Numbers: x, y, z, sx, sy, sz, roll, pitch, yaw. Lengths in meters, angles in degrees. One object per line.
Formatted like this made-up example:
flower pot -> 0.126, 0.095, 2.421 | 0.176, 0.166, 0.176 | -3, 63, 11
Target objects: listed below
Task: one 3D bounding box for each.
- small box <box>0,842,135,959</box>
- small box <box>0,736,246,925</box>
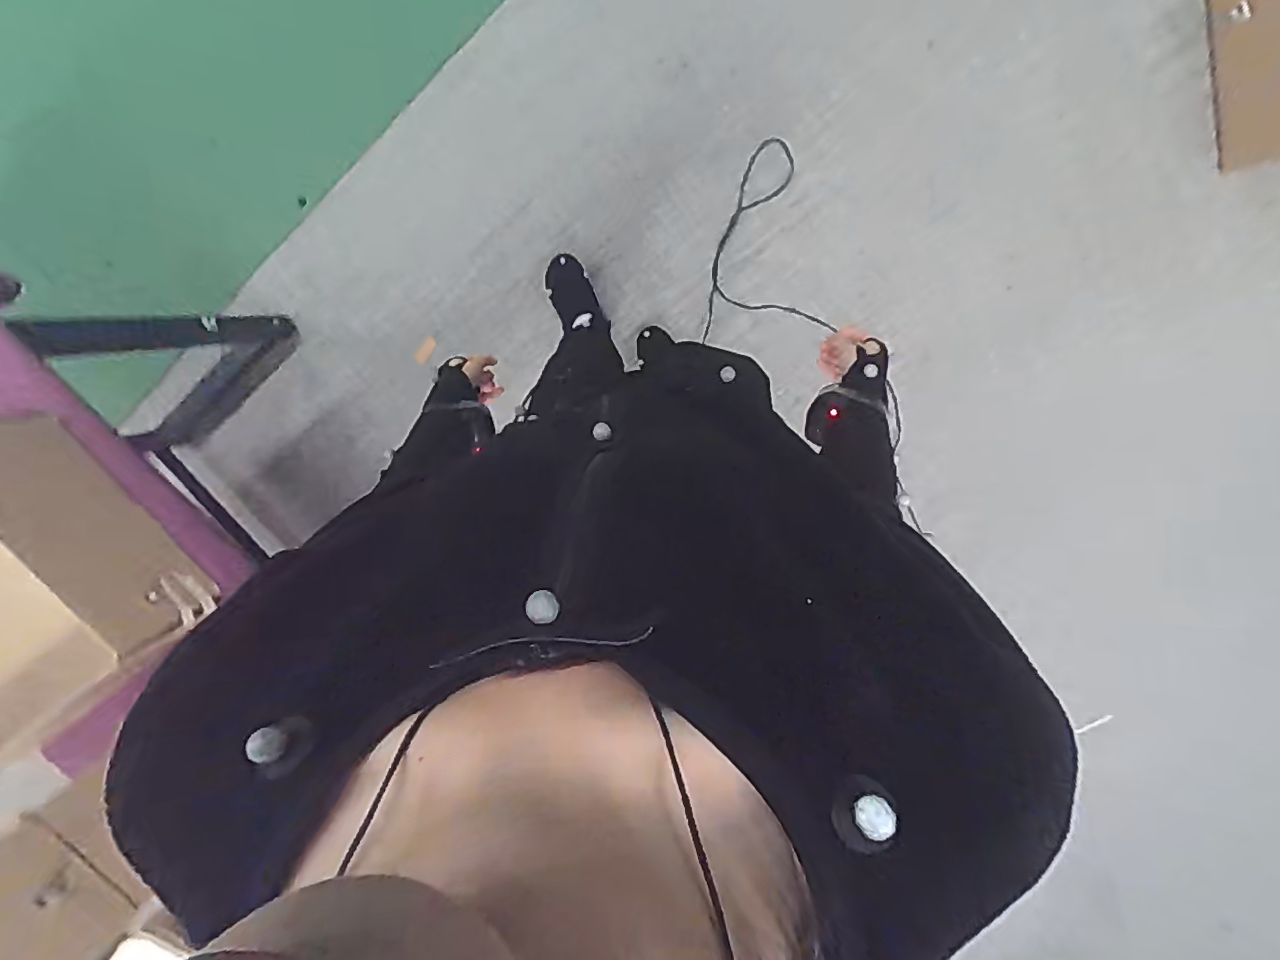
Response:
small box -> -0.720, 0.529, 0.577 | 0.168, 0.176, 0.179 | -34, 99, 16
small box -> -0.703, 0.482, 0.734 | 0.168, 0.176, 0.179 | -34, 100, 15
